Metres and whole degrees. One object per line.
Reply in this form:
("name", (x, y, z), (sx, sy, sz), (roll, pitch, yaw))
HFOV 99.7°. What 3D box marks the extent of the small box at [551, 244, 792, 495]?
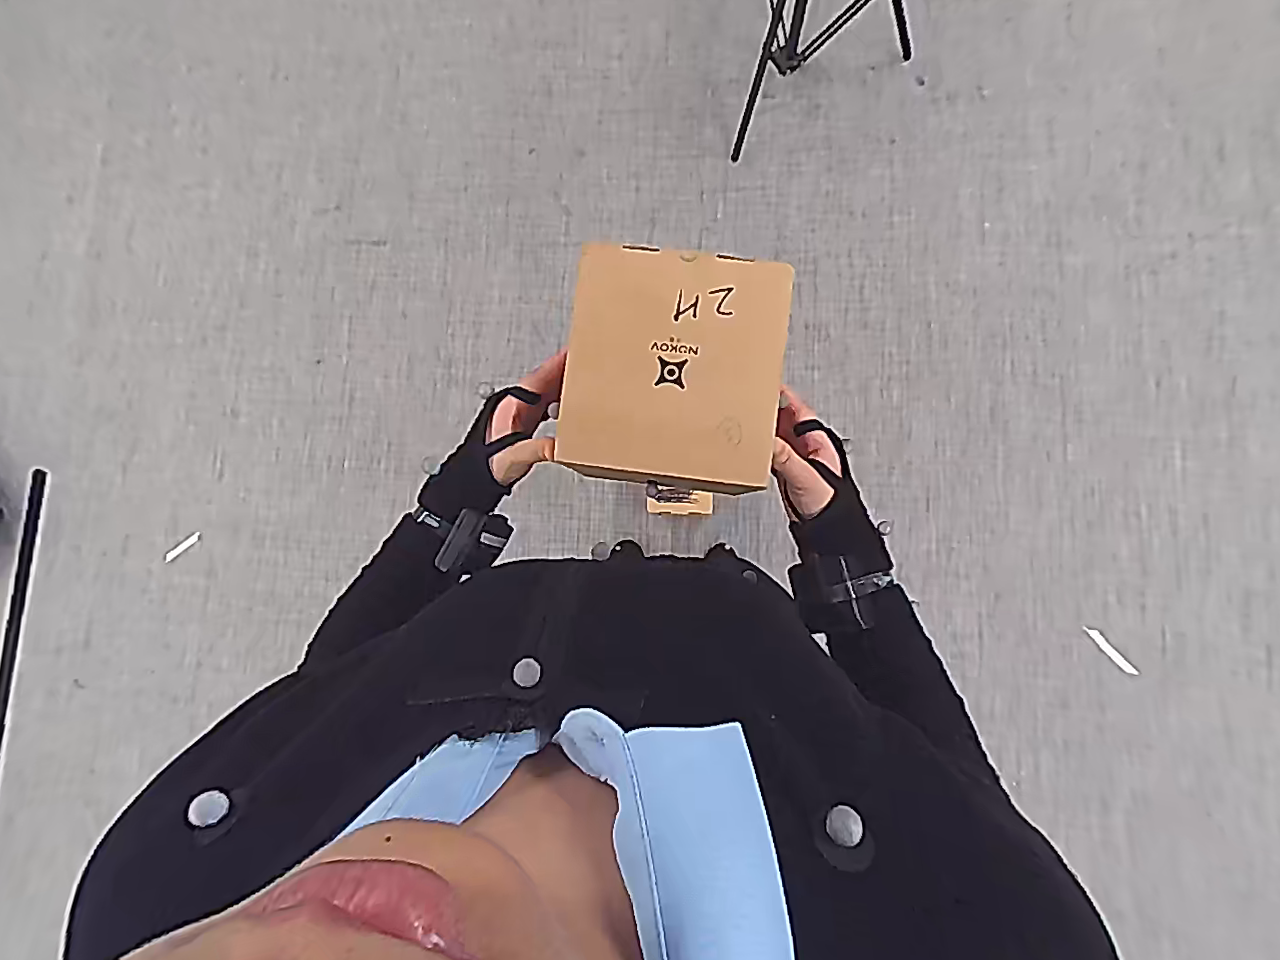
("small box", (0.027, -0.082, 0.488), (0.168, 0.176, 0.179), (7, 86, 2))
